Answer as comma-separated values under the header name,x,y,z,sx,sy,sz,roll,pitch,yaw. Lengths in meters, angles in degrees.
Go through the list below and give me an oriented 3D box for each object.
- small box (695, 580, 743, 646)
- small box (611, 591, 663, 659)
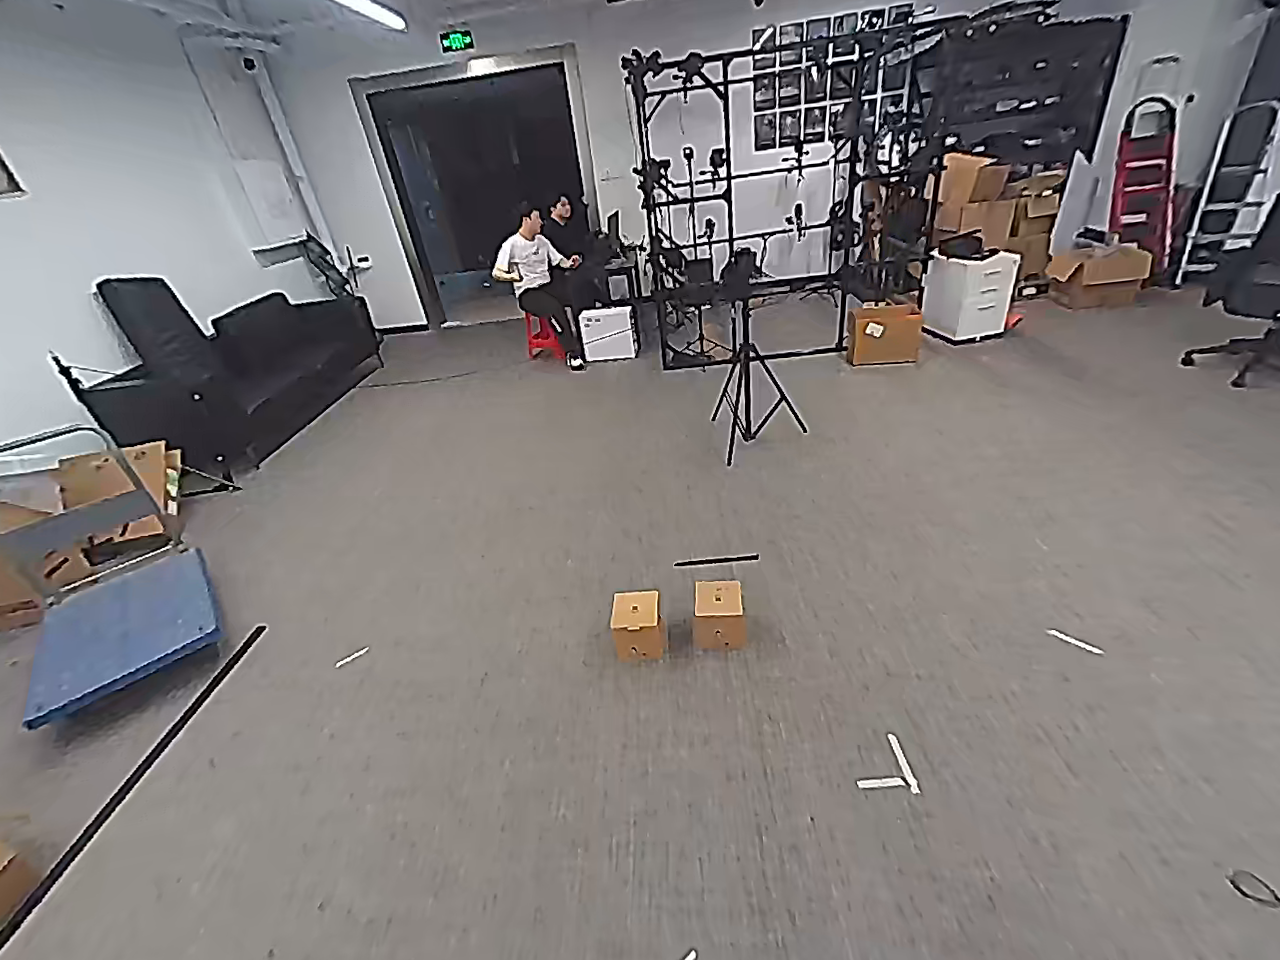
name,x,y,z,sx,sy,sz,roll,pitch,yaw
small box,0.289,0.489,1.975,0.168,0.176,0.179,-3,31,8
small box,-0.006,0.533,1.983,0.168,0.176,0.179,-5,31,6
